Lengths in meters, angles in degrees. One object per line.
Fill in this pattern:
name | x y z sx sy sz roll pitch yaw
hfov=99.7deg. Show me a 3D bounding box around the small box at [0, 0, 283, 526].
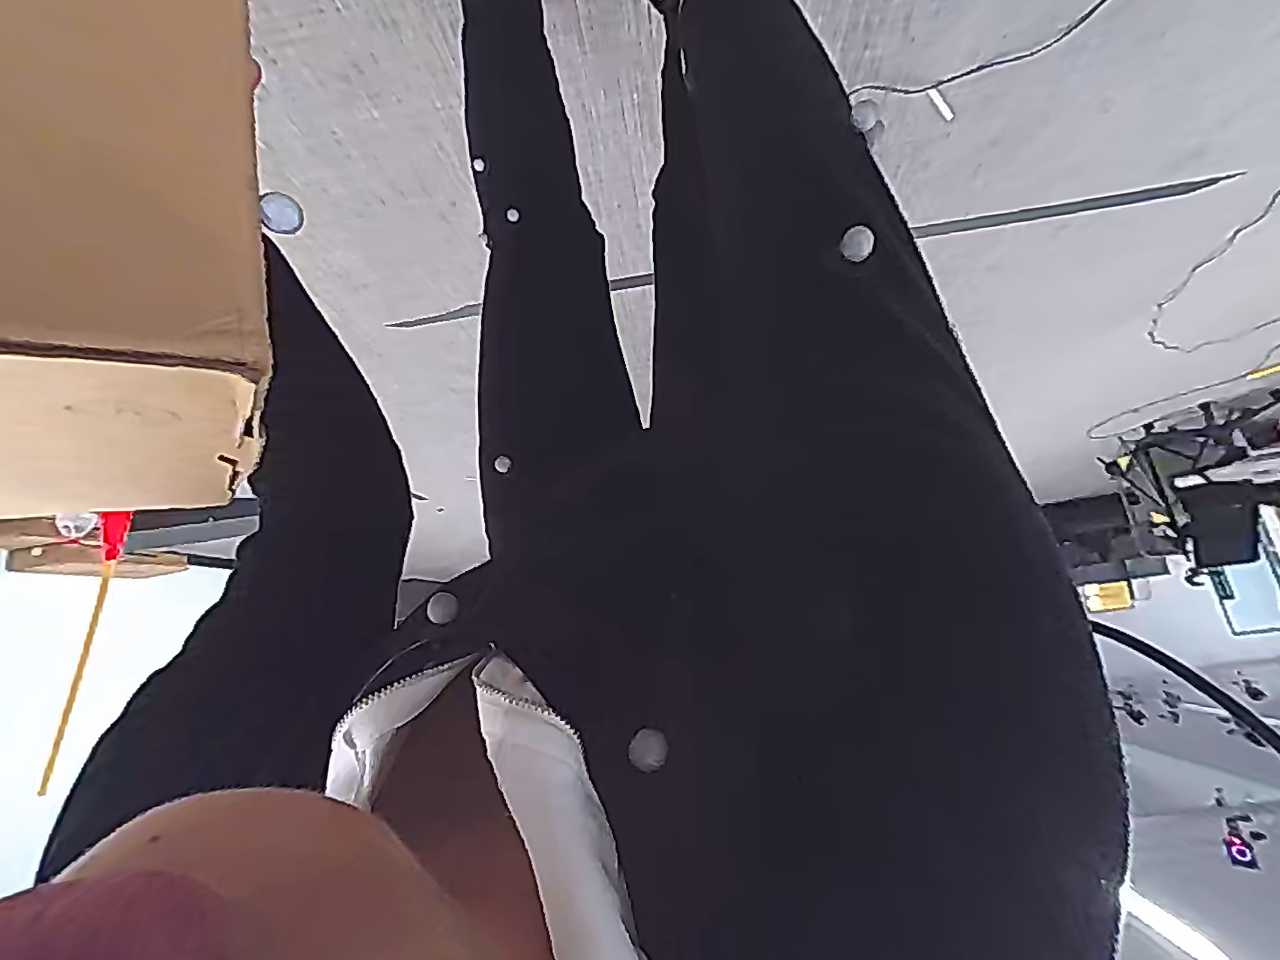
small box | -0.210 -0.082 0.140 0.179 0.176 0.168 -1 168 -40
